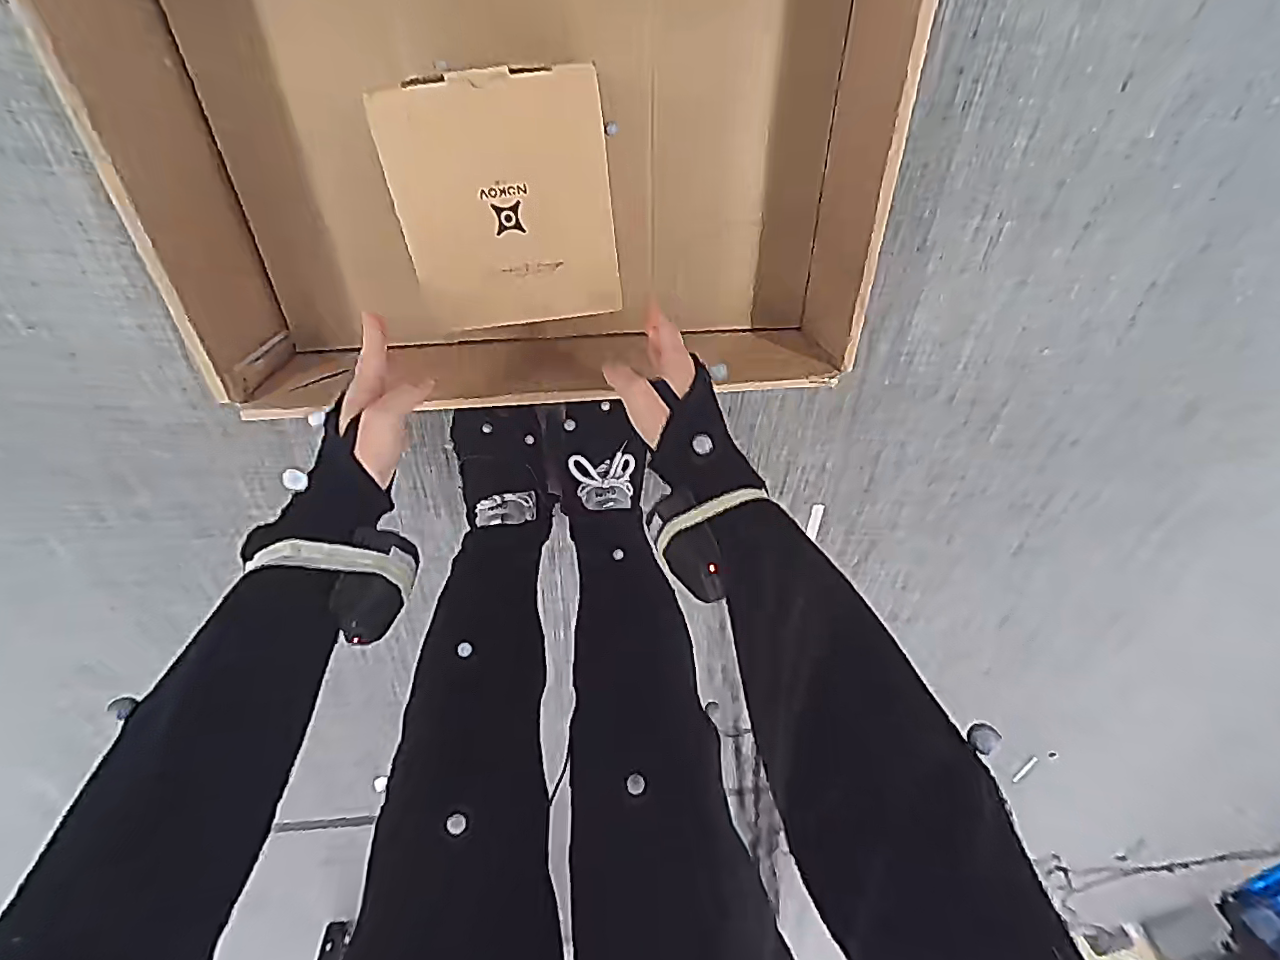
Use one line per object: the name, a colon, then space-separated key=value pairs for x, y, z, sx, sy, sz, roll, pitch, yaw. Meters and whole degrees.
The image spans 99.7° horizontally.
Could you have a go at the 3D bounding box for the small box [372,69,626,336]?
small box: x=-0.108 y=-0.252 z=0.489 sx=0.168 sy=0.176 sz=0.179 roll=-8 pitch=127 yaw=-1
